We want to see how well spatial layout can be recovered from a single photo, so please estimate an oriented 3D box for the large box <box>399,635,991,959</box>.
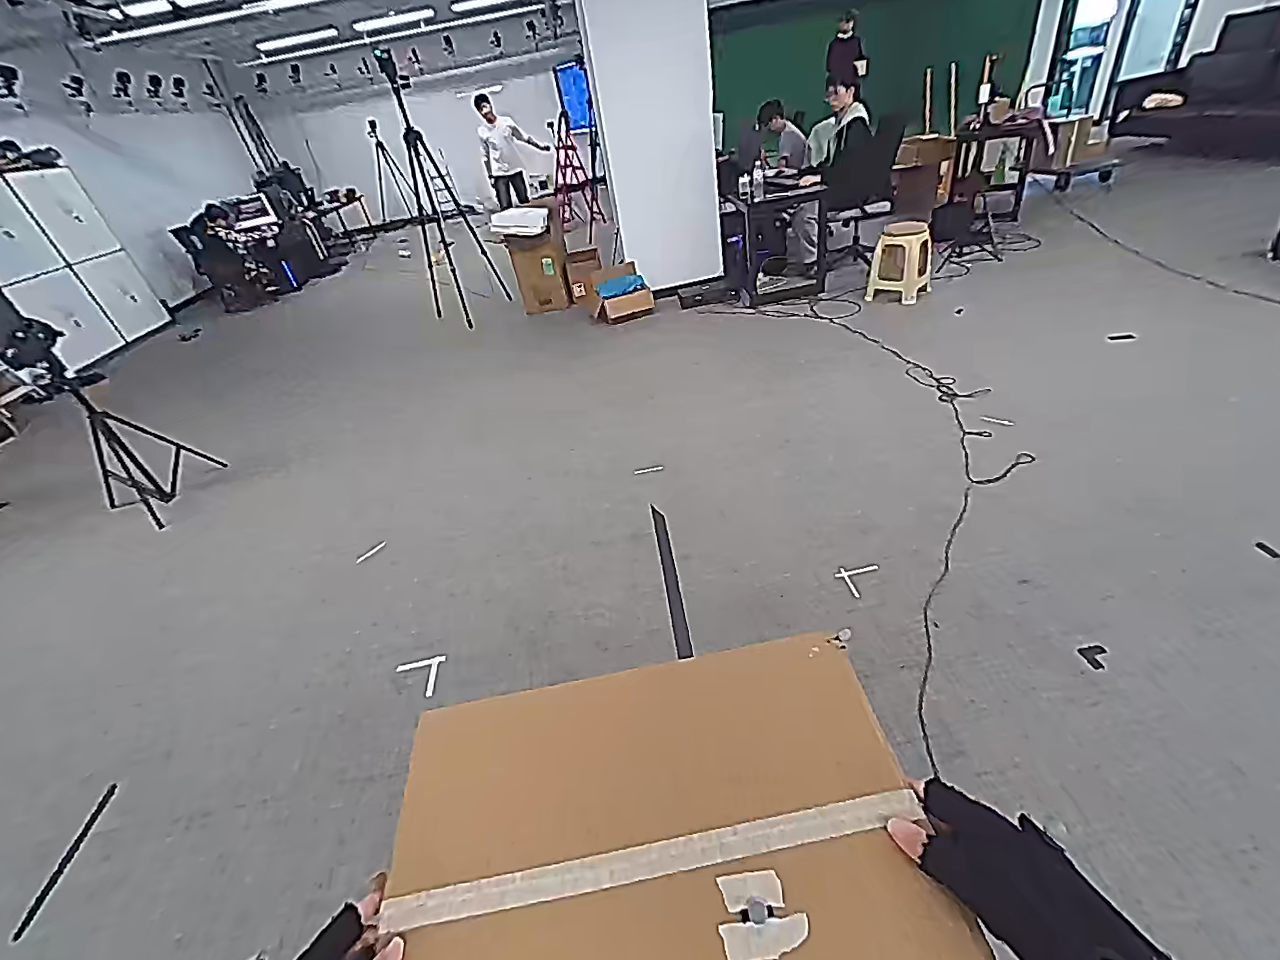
[{"bbox_3d":[0.035,0.400,0.509,0.408,0.320,0.320,-11,41,-2],"label":"large box"}]
